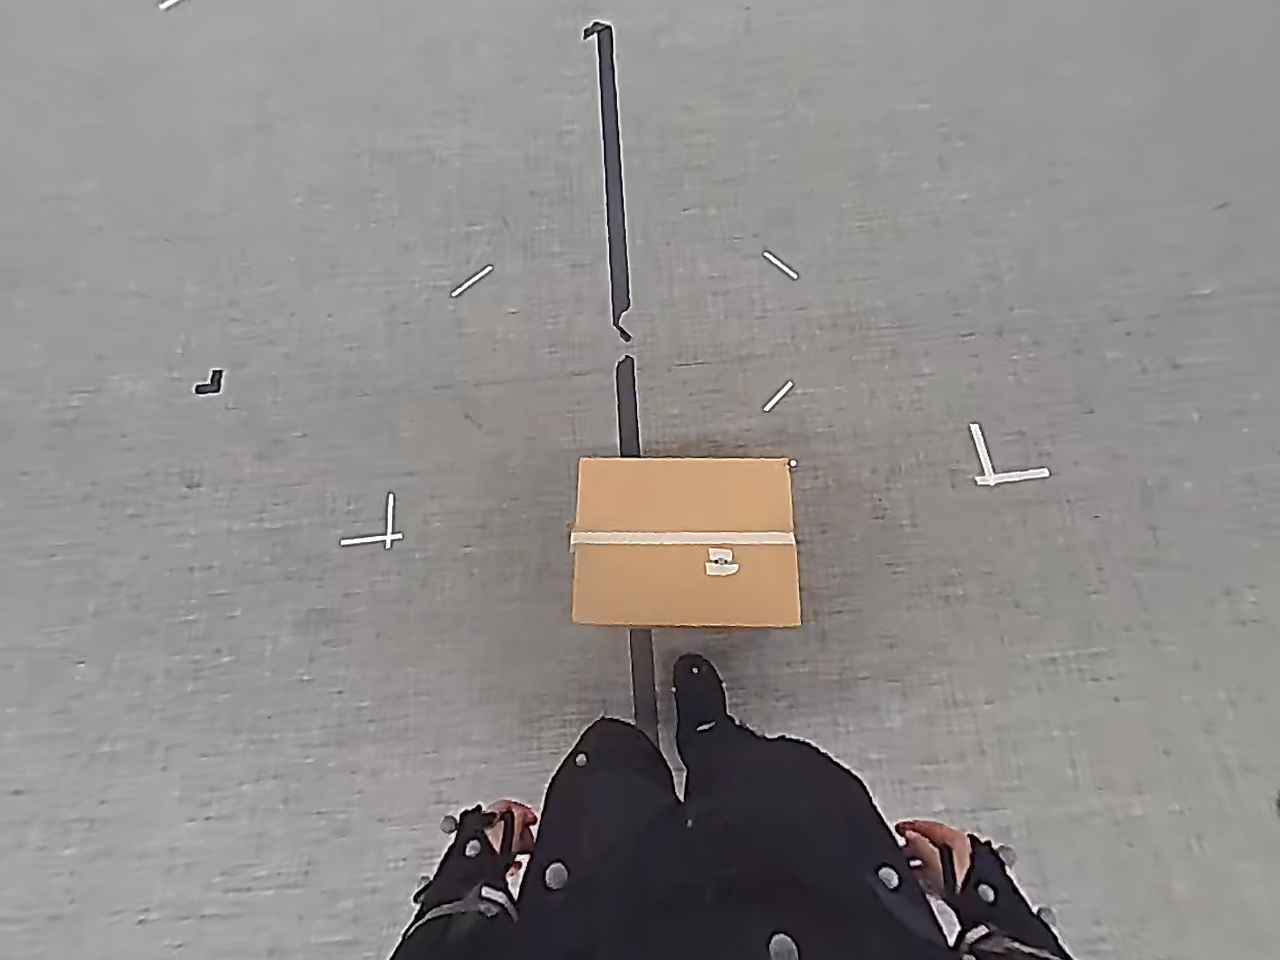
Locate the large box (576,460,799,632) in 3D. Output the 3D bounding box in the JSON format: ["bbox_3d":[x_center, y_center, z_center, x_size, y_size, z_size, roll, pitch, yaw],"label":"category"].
[{"bbox_3d":[0.084,0.154,1.137,0.408,0.320,0.320,0,74,1],"label":"large box"}]
